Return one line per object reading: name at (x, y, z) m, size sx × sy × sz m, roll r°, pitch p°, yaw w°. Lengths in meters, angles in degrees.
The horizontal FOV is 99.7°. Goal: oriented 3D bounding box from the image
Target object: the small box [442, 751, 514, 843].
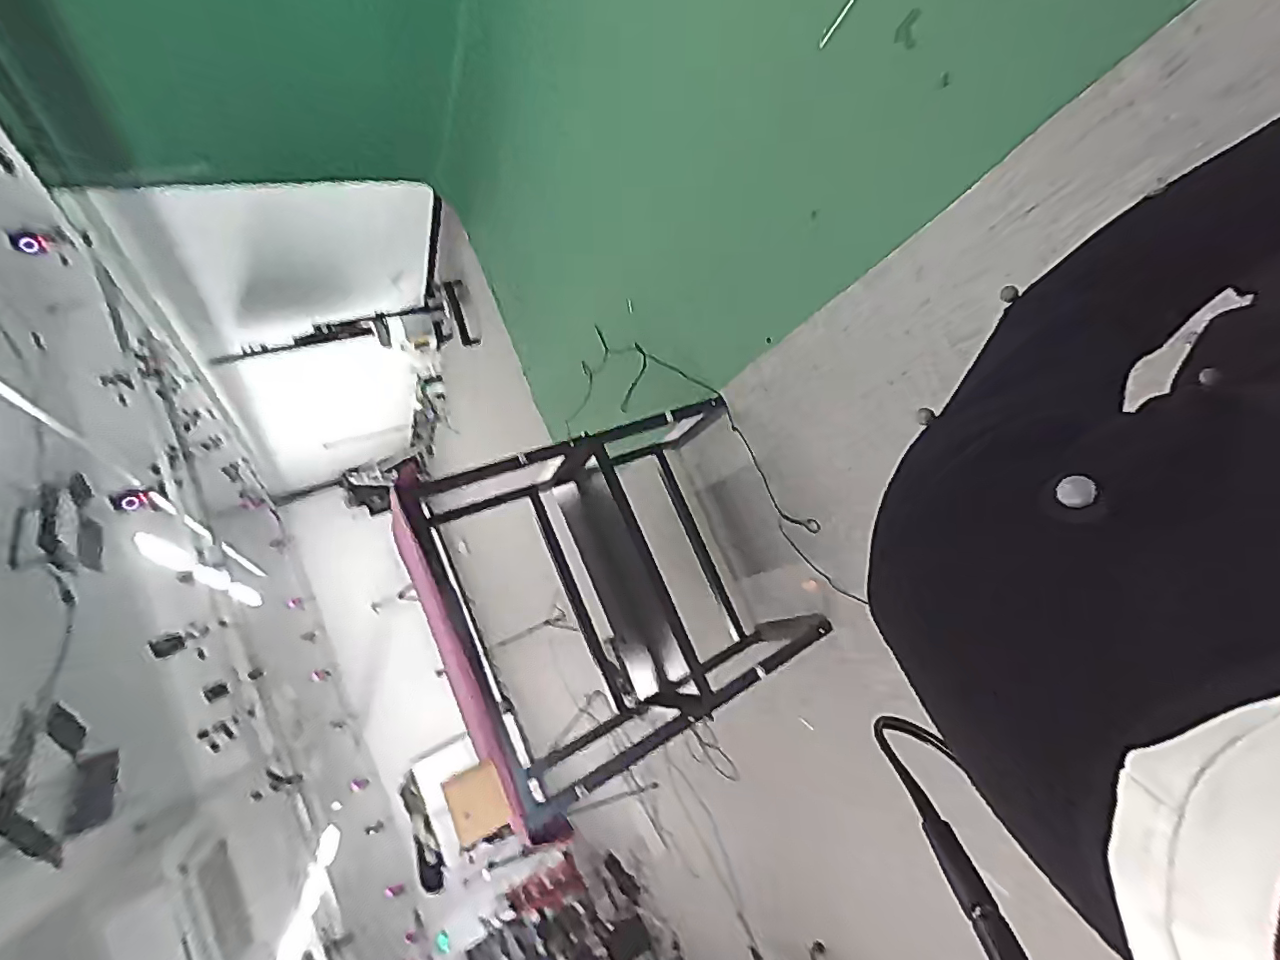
small box at (-0.520, 1.010, 1.738) m, size 0.179 × 0.176 × 0.168 m, roll 67°, pitch 152°, yaw 8°
